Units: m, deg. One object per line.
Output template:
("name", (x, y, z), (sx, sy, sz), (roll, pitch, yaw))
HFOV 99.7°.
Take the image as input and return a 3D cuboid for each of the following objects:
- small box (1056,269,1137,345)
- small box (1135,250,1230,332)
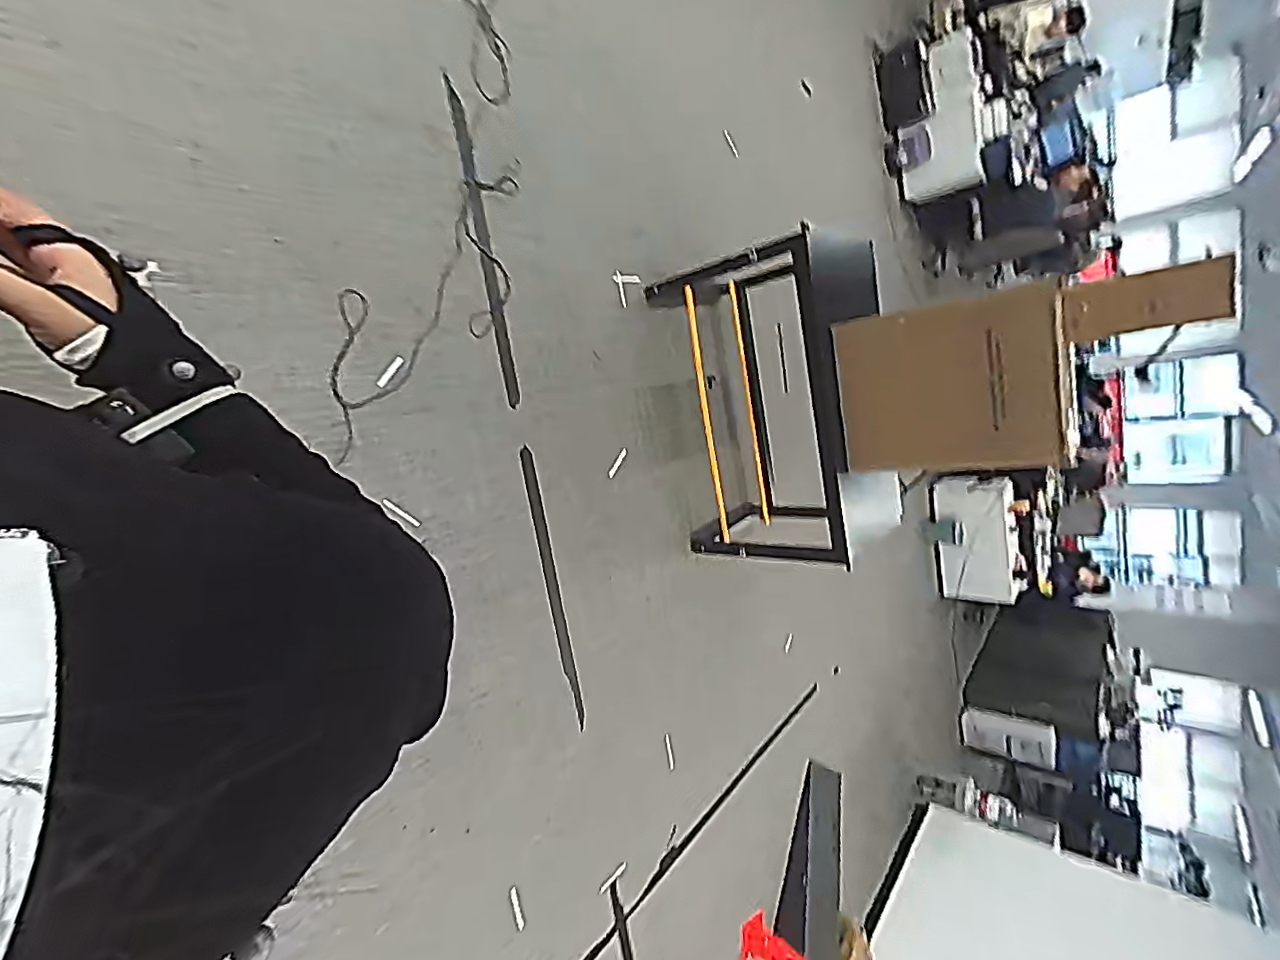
("small box", (1.302, -0.491, 1.539), (0.179, 0.176, 0.168), (-27, 108, -42))
("small box", (1.419, -0.495, 1.423), (0.179, 0.176, 0.168), (-24, 106, -44))
